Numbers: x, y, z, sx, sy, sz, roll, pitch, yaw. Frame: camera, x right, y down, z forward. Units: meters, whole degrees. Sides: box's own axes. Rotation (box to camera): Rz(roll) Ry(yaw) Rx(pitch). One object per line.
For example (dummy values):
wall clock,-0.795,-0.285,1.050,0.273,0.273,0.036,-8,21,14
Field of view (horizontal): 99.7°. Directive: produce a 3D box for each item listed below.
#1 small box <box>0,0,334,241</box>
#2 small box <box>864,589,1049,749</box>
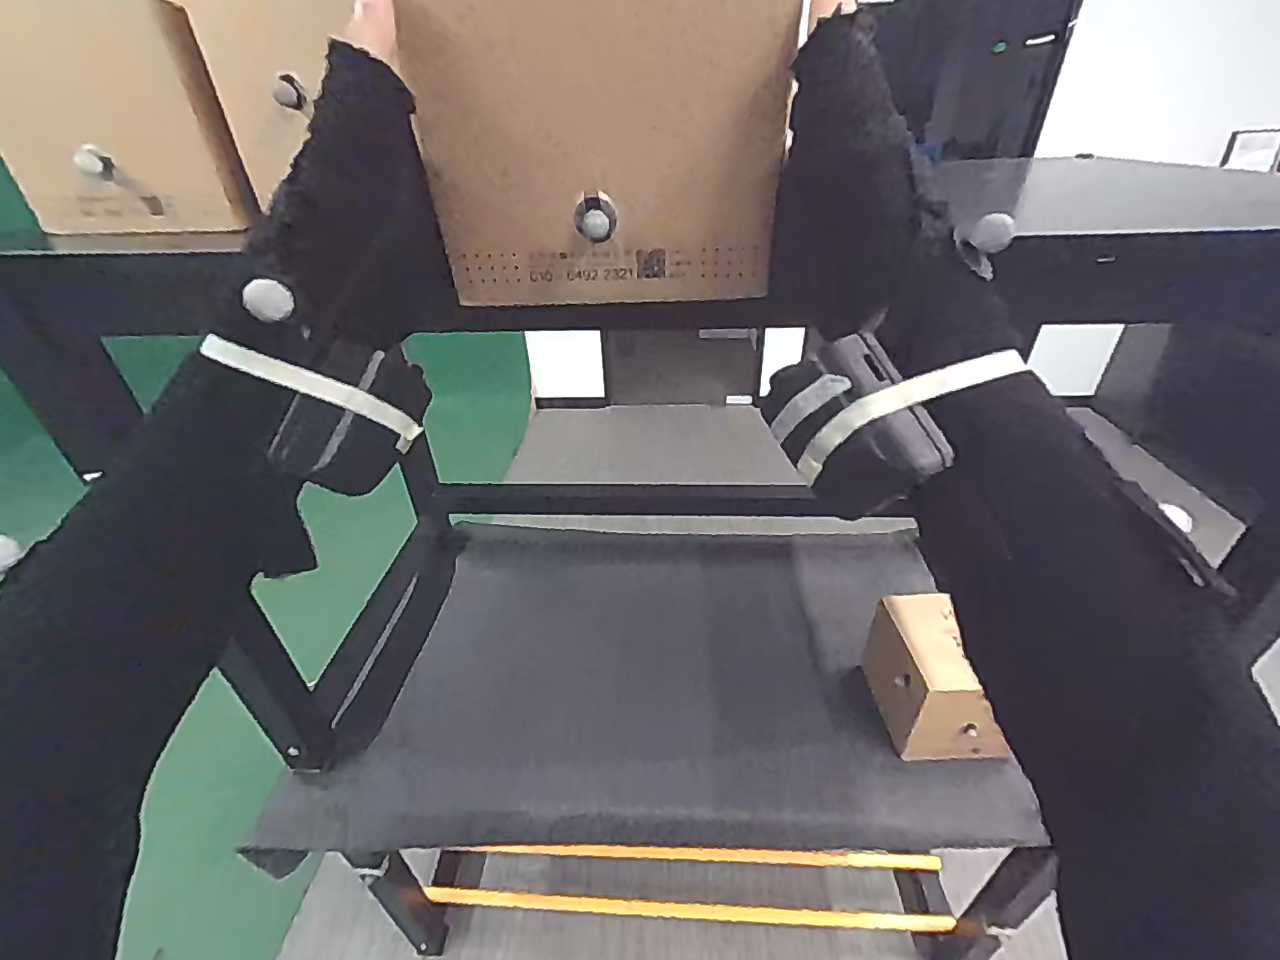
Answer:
small box,-0.400,-0.316,0.471,0.168,0.176,0.179,0,35,2
small box,0.465,0.291,0.830,0.168,0.176,0.179,-1,33,0
